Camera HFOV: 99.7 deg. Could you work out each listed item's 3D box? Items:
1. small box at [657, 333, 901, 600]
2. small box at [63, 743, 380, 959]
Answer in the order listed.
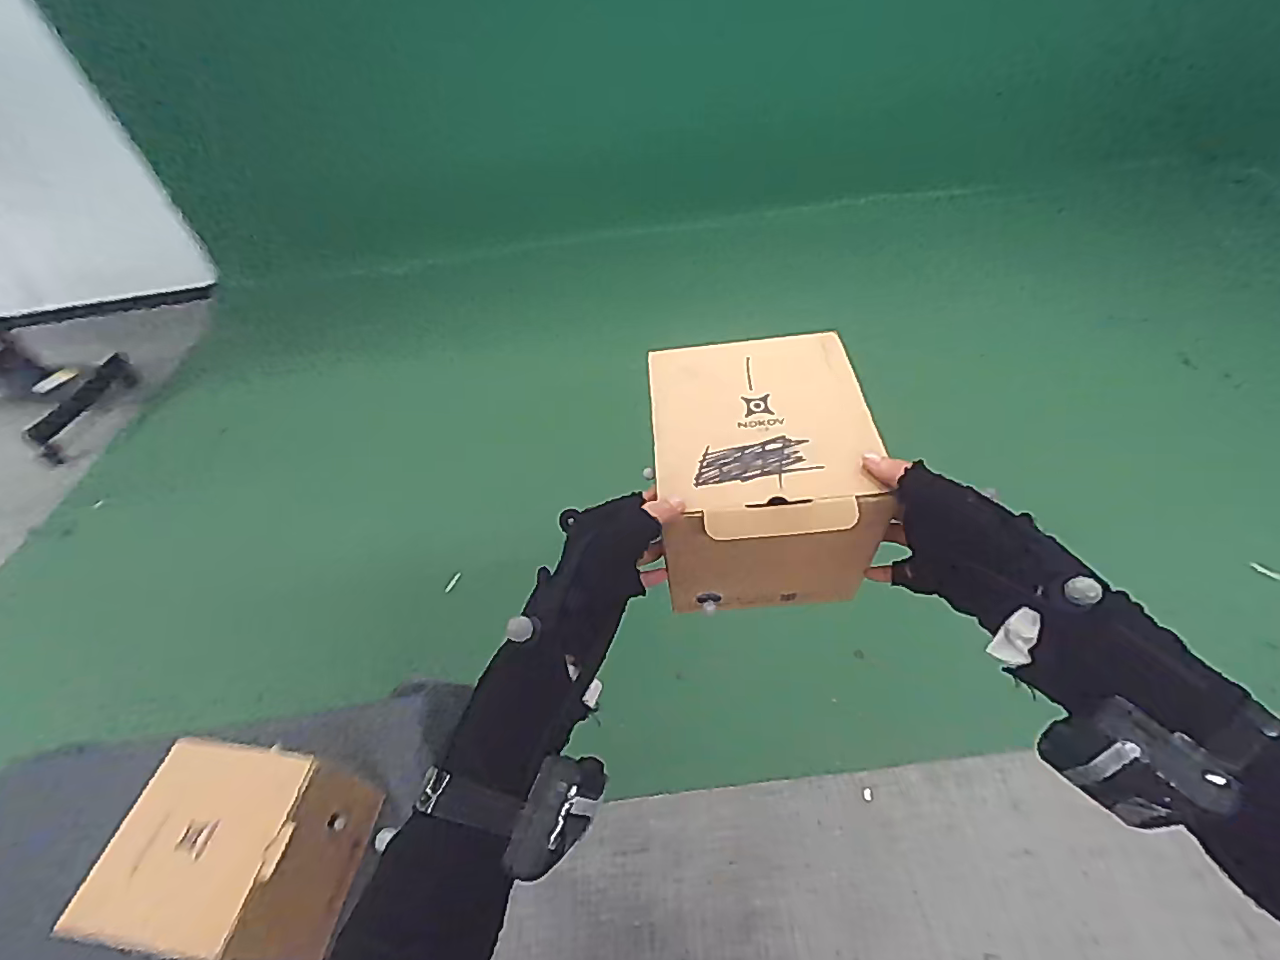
[{"bbox_3d":[0.106,-0.003,0.482,0.168,0.176,0.179,-5,52,5],"label":"small box"},{"bbox_3d":[-0.425,0.407,0.590,0.179,0.176,0.168,0,47,10],"label":"small box"}]
